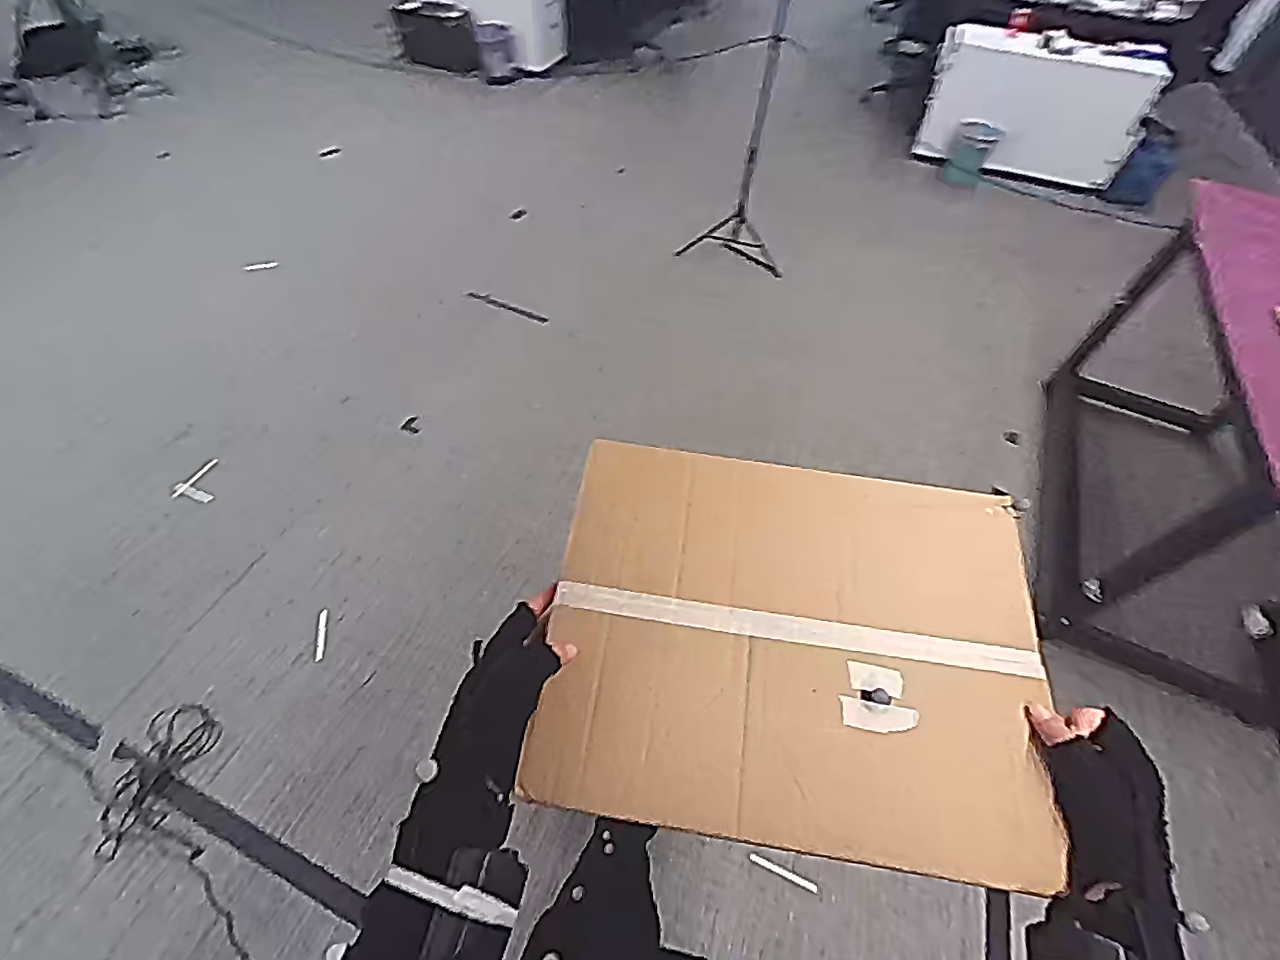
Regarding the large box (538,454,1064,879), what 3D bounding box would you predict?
[{"bbox_3d":[0.133,0.199,0.604,0.408,0.320,0.320,8,64,3],"label":"large box"}]
